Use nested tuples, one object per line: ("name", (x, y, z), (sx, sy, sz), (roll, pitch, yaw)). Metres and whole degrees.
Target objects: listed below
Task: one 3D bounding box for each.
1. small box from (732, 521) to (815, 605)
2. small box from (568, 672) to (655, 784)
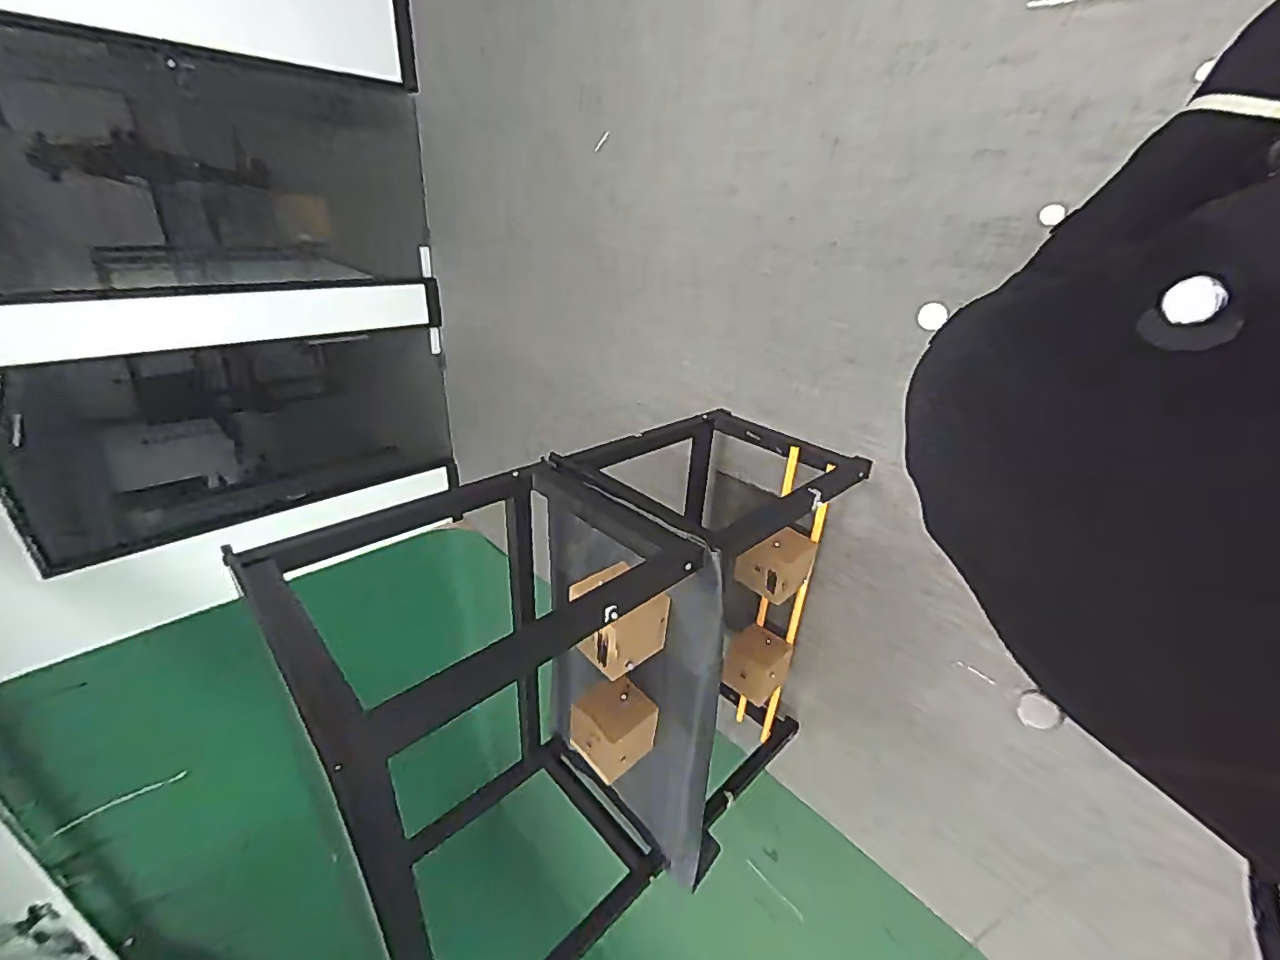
("small box", (0.419, 0.252, 1.696), (0.179, 0.176, 0.168), (31, 127, 36))
("small box", (-0.077, 0.663, 1.460), (0.168, 0.176, 0.179), (31, 128, 37))
